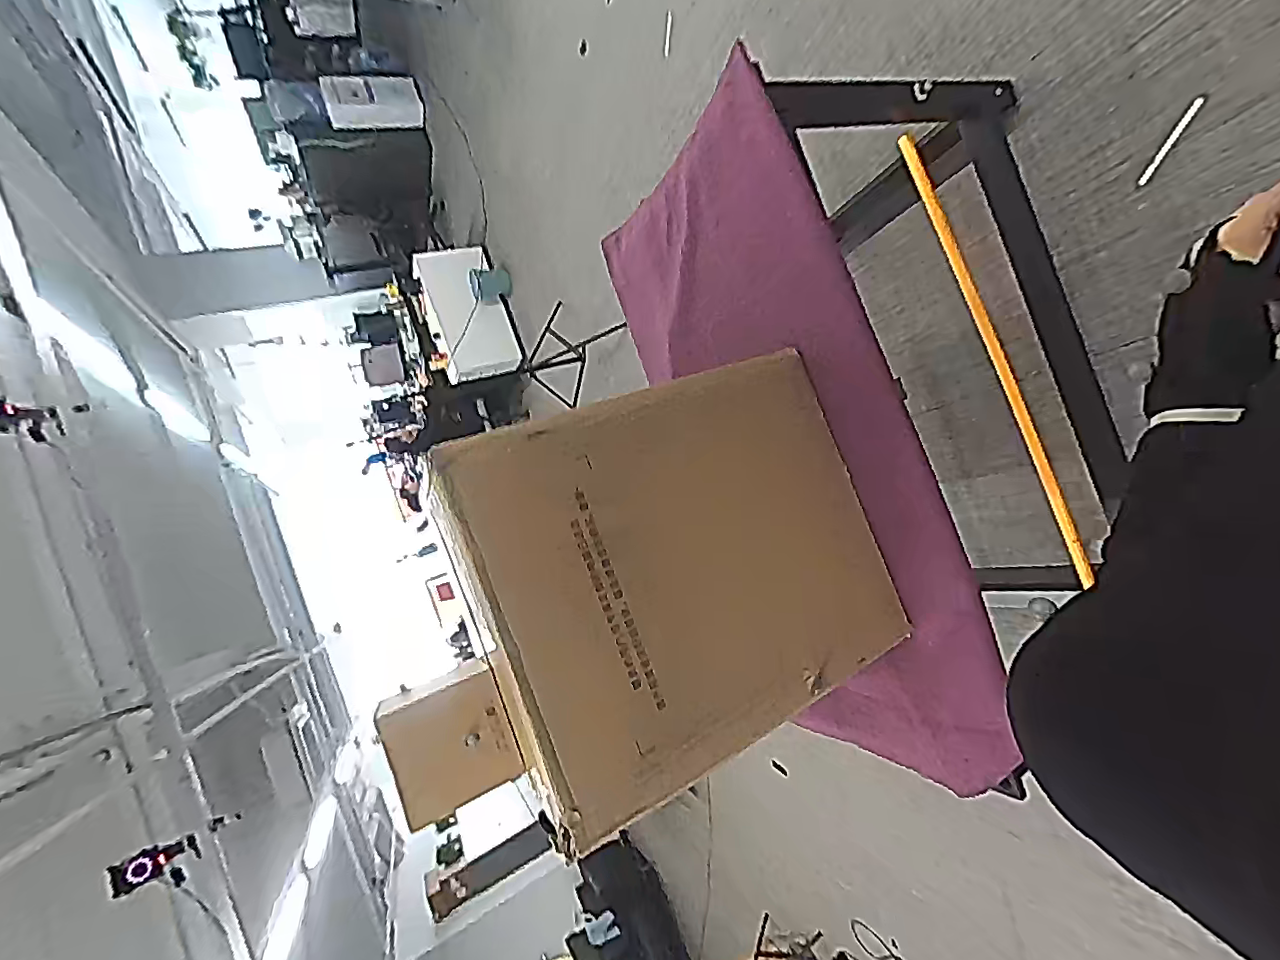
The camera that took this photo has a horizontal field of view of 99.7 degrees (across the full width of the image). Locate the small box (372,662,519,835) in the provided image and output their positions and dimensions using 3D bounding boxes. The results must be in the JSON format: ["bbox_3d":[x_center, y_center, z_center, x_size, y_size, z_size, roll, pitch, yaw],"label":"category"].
[{"bbox_3d":[-0.302,0.403,0.850,0.179,0.176,0.168,-28,82,65],"label":"small box"}]
